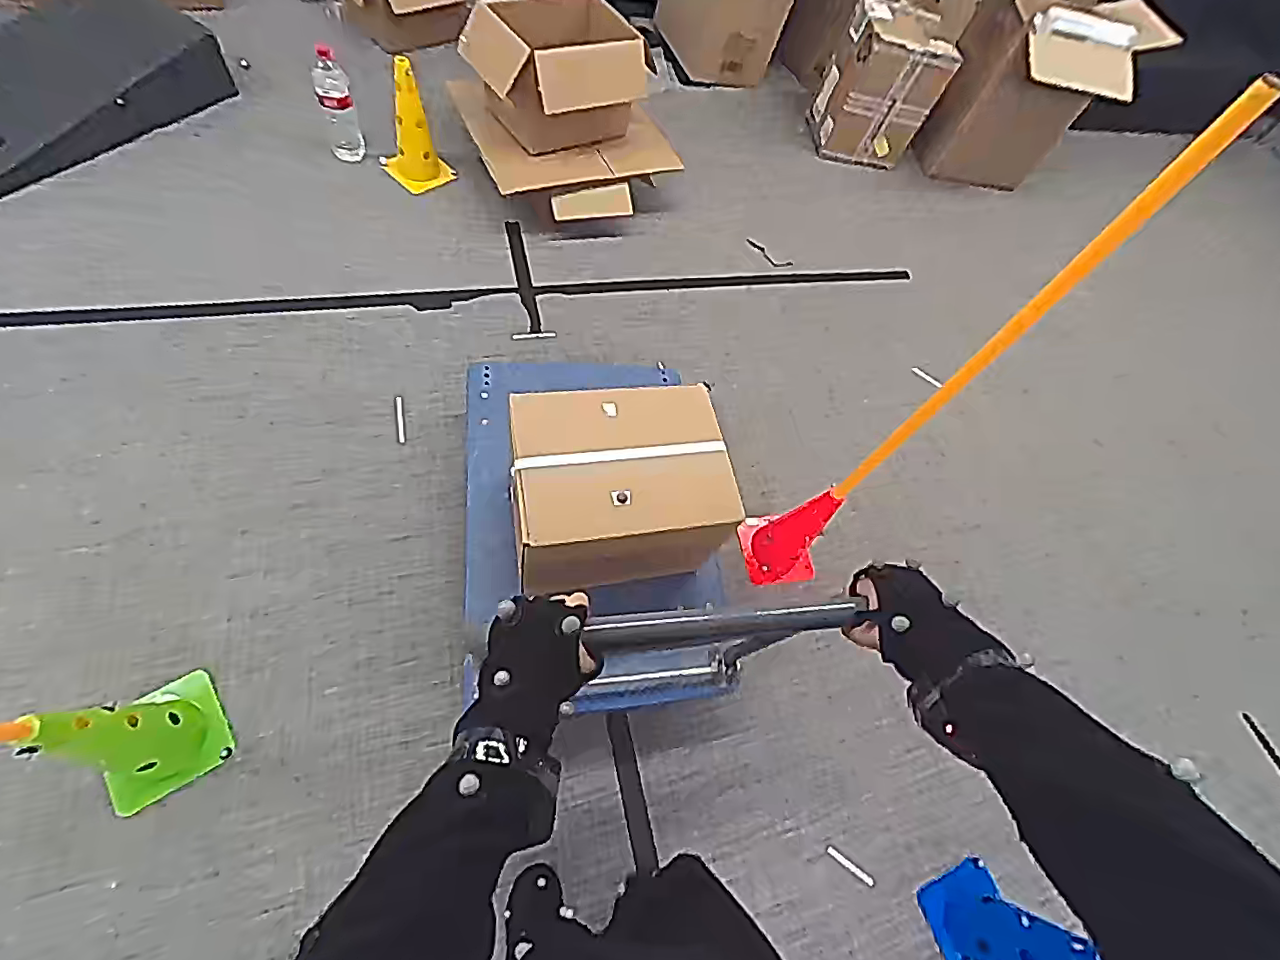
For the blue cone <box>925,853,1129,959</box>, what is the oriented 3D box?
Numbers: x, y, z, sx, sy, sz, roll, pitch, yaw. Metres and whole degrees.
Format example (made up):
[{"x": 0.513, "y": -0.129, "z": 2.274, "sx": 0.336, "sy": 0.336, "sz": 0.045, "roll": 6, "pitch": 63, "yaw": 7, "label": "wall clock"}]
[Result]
[{"x": 0.776, "y": 0.894, "z": 1.064, "sx": 0.193, "sy": 0.380, "sz": 0.192, "roll": -12, "pitch": 65, "yaw": -19, "label": "blue cone"}]

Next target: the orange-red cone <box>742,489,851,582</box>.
[{"x": 0.429, "y": 0.114, "z": 1.381, "sx": 0.199, "sy": 0.360, "sz": 0.198, "roll": -2, "pitch": 64, "yaw": -15, "label": "orange-red cone"}]
